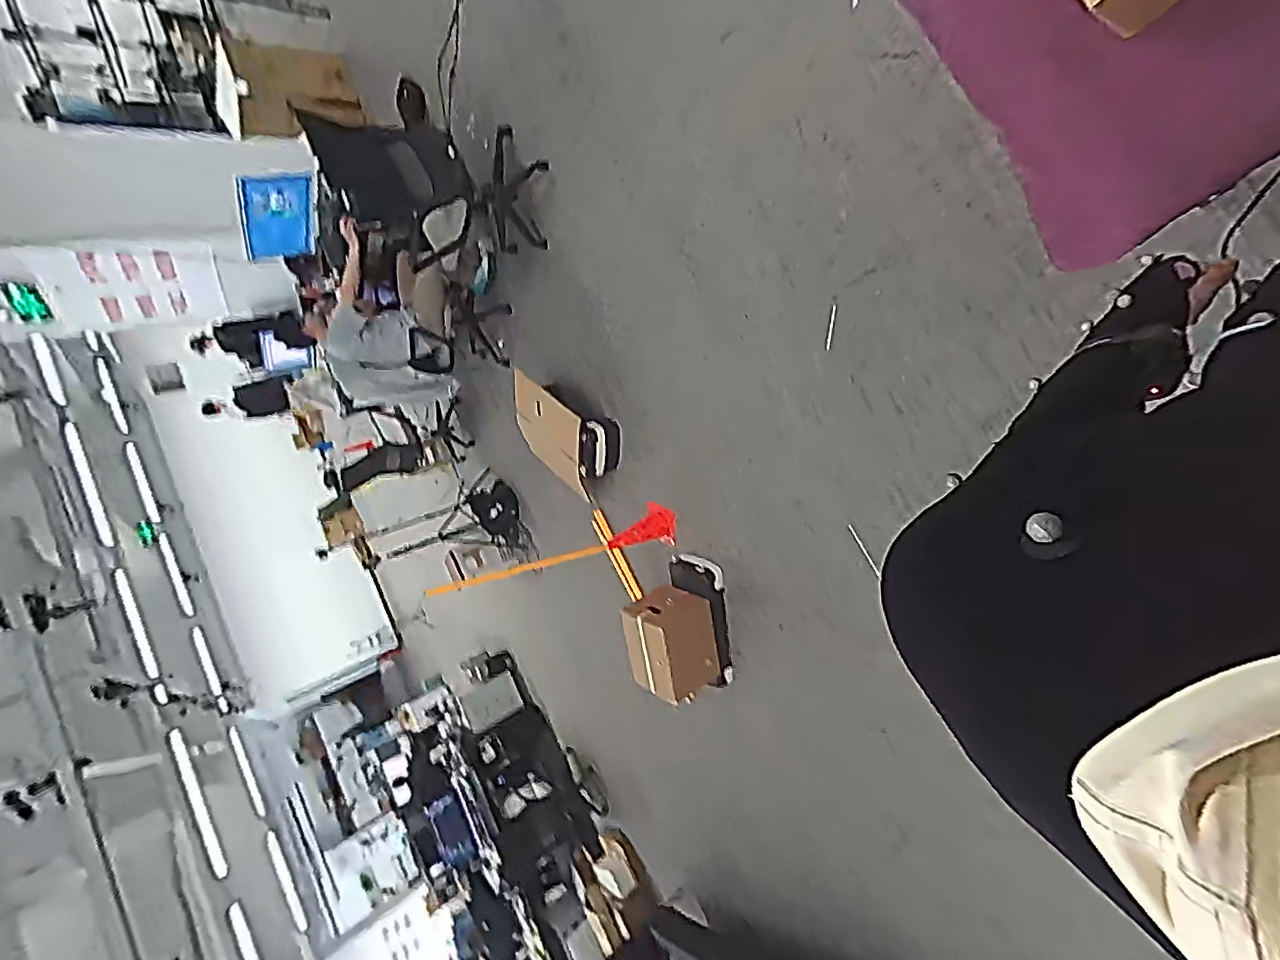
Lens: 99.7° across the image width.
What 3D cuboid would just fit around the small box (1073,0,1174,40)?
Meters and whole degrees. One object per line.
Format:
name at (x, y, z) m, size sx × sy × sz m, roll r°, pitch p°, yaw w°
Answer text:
small box at (0.492, -0.571, 0.507) m, size 0.179 × 0.176 × 0.168 m, roll -36°, pitch 78°, yaw 53°
